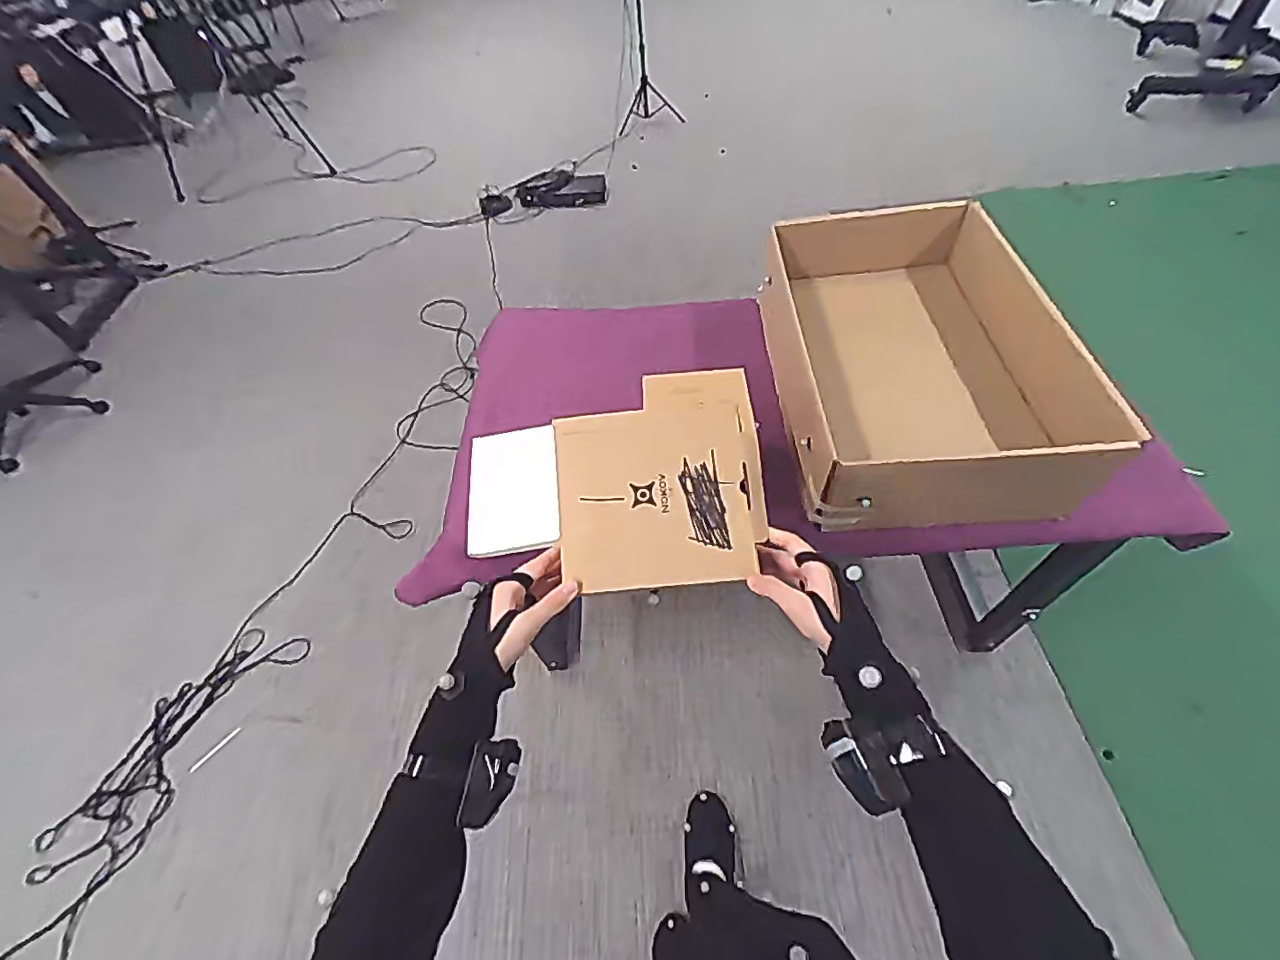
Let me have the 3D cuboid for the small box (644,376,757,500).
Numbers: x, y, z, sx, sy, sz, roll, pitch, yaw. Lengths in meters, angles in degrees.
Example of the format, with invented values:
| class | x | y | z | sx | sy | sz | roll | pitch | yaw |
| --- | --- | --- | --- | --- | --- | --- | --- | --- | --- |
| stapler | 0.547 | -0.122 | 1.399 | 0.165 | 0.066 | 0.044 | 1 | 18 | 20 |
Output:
| class | x | y | z | sx | sy | sz | roll | pitch | yaw |
| --- | --- | --- | --- | --- | --- | --- | --- | --- | --- |
| small box | 0.095 | -0.045 | 0.882 | 0.168 | 0.176 | 0.179 | -3 | 51 | 4 |

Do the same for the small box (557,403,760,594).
| class | x | y | z | sx | sy | sz | roll | pitch | yaw |
| --- | --- | --- | --- | --- | --- | --- | --- | --- | --- |
| small box | 0.017 | 0.030 | 0.567 | 0.179 | 0.176 | 0.168 | -5 | 77 | 2 |
